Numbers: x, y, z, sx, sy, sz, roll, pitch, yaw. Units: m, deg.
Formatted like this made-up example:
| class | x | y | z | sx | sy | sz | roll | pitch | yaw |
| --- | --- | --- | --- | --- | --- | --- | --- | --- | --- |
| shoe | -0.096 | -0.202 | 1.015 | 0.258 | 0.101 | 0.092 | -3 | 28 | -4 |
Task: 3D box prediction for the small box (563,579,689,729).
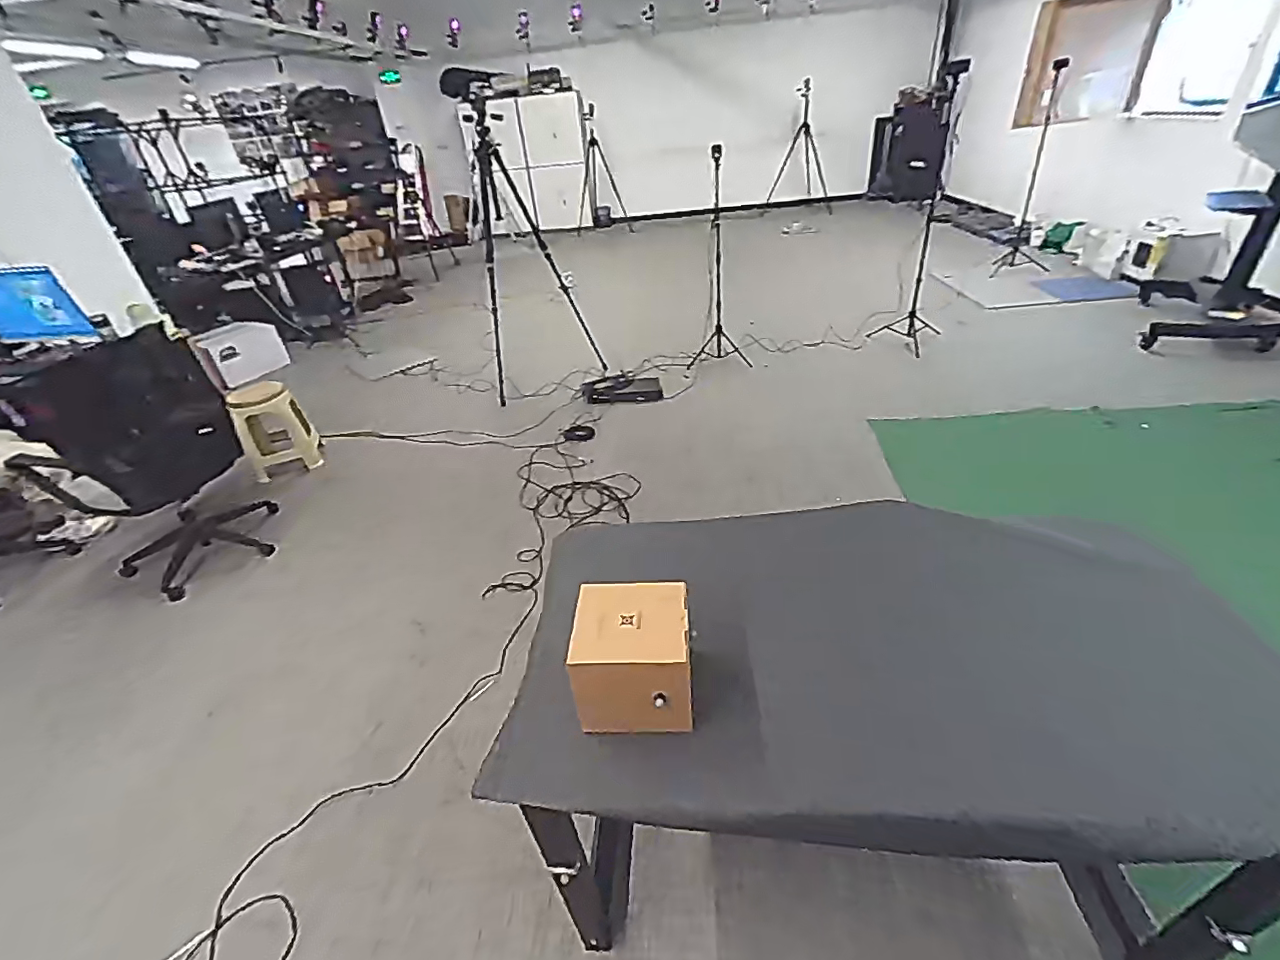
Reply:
| class | x | y | z | sx | sy | sz | roll | pitch | yaw |
| --- | --- | --- | --- | --- | --- | --- | --- | --- | --- |
| small box | -0.012 | 0.280 | 0.871 | 0.179 | 0.176 | 0.168 | -4 | 32 | 6 |
